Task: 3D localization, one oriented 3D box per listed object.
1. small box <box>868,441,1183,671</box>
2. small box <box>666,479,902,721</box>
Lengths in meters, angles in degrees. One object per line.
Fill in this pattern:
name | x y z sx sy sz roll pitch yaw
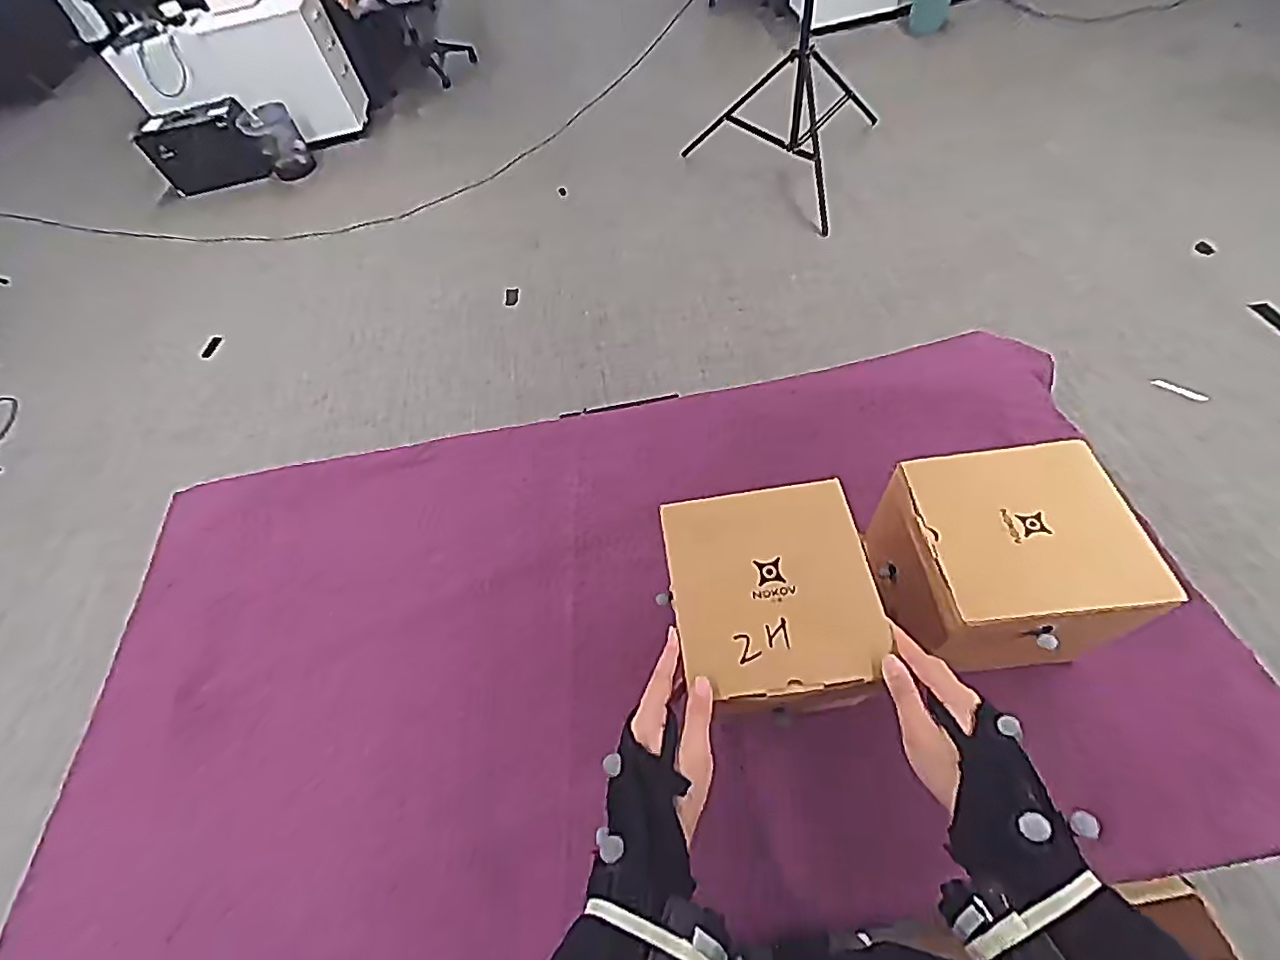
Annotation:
small box | 0.355 0.084 0.546 0.179 0.176 0.168 -8 55 5
small box | 0.119 0.122 0.523 0.168 0.176 0.179 -9 60 3
